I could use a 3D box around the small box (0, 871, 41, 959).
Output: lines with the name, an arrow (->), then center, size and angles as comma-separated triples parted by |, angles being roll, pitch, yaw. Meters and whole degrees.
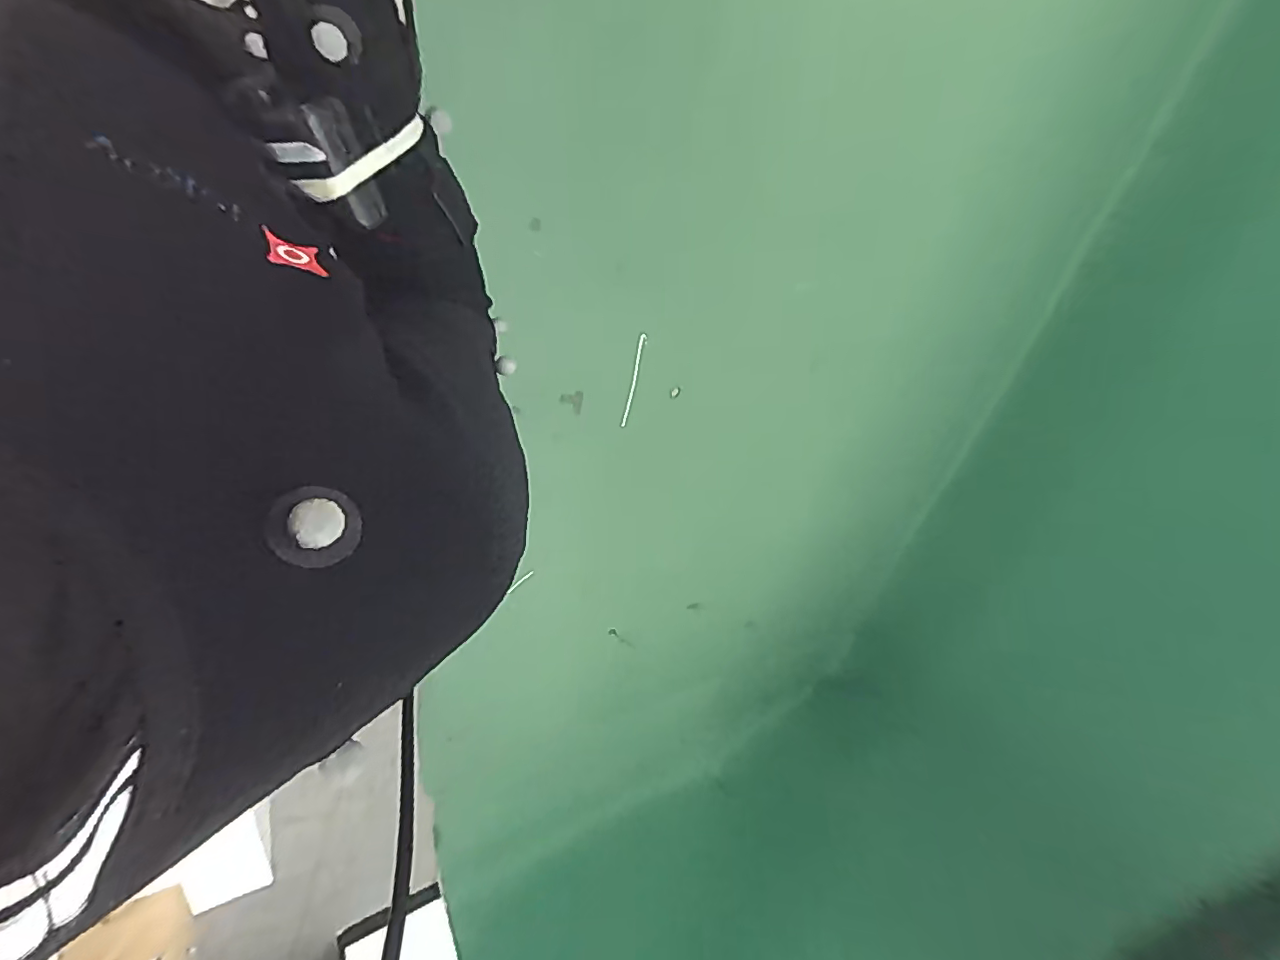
small box -> -1.023, 0.715, 0.780 | 0.168, 0.176, 0.179 | -7, 127, -33
